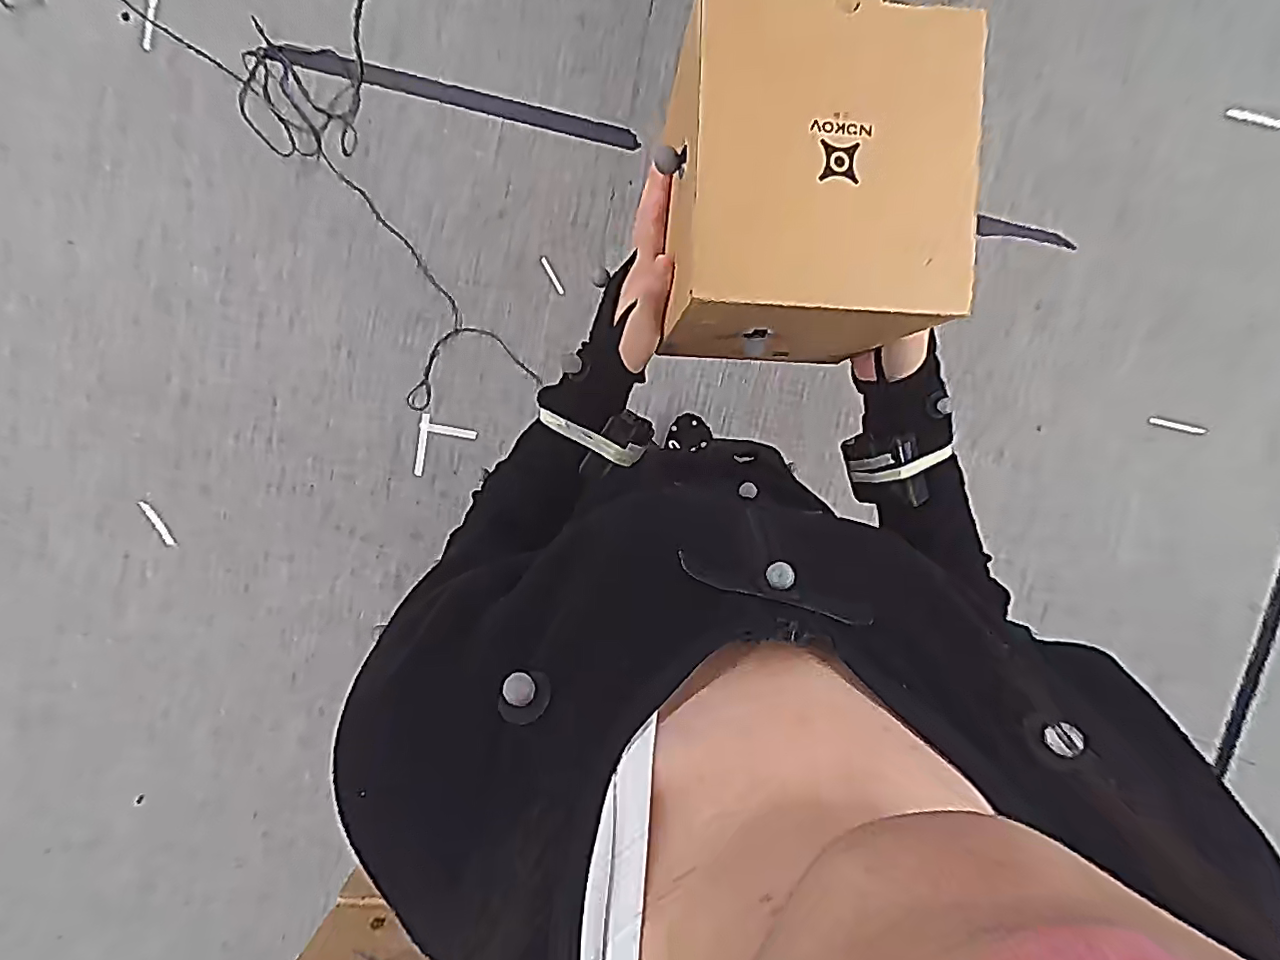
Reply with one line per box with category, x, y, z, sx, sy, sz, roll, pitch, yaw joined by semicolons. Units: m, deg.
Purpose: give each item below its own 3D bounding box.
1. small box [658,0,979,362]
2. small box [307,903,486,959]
small box;0.106;-0.186;0.389;0.168;0.176;0.179;1;91;-6
small box;-0.253;0.553;0.519;0.168;0.176;0.179;1;94;1
